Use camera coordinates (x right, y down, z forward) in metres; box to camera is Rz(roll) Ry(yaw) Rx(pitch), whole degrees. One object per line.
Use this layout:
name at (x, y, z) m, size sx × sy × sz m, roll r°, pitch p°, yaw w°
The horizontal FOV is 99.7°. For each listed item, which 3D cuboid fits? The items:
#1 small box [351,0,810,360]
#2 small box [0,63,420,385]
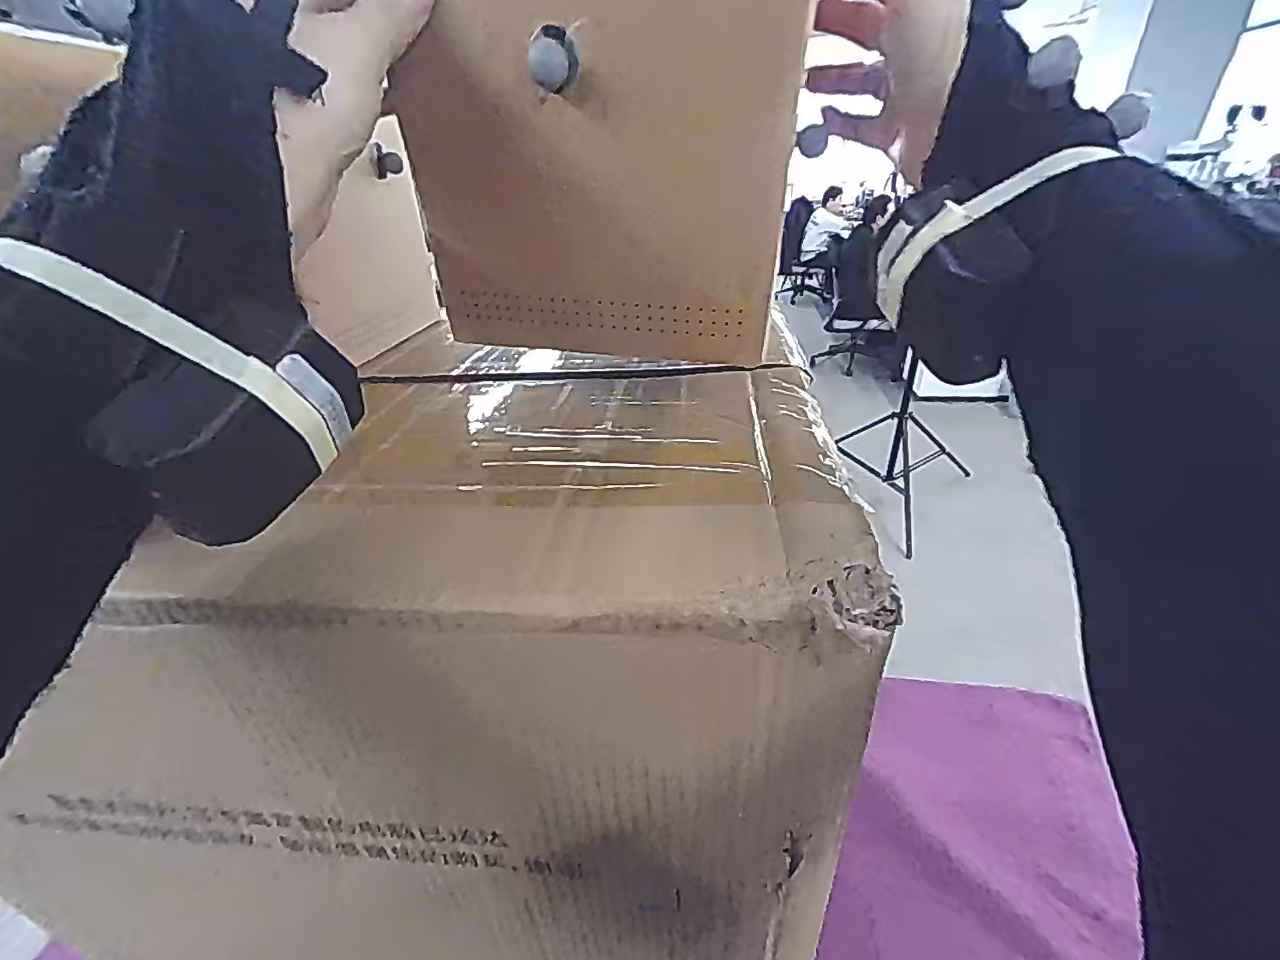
small box at (-0.008, -0.178, 0.294) m, size 0.179 × 0.176 × 0.168 m, roll 6°, pitch 41°, yaw 13°
small box at (-0.280, -0.177, 0.388) m, size 0.168 × 0.176 × 0.179 m, roll 1°, pitch 30°, yaw 7°
